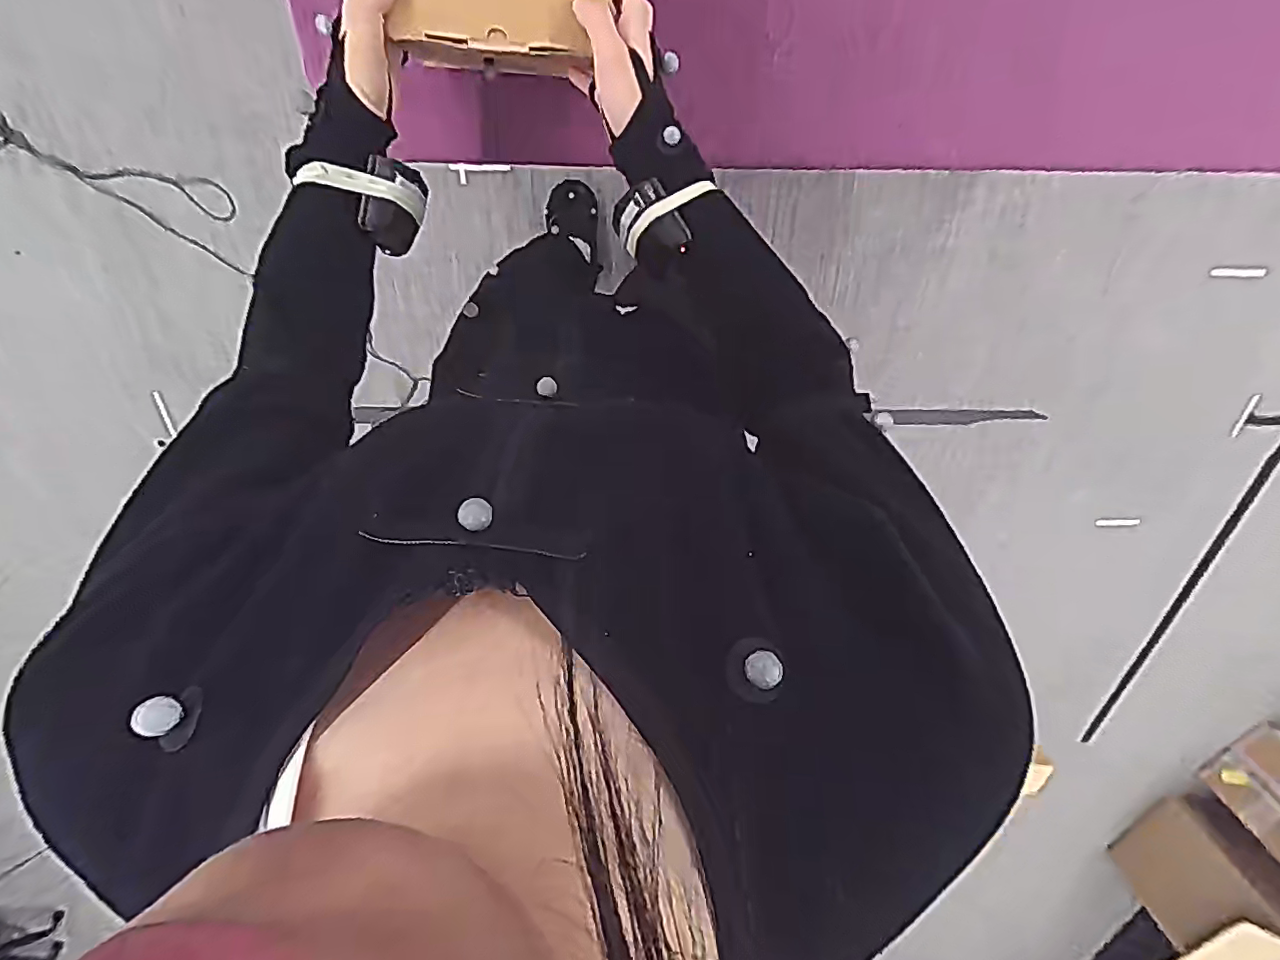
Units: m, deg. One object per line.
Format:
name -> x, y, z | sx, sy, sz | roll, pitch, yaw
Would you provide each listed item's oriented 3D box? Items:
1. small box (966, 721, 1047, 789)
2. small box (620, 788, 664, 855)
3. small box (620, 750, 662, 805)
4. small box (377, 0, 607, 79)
small box -> 1.393, 1.052, 2.072 | 0.168, 0.176, 0.179 | 2, 119, -6
small box -> 0.007, 1.355, 2.154 | 0.168, 0.176, 0.179 | -4, 121, -1
small box -> 0.003, 1.272, 2.296 | 0.168, 0.176, 0.179 | -5, 121, 0
small box -> -0.115, -0.440, 0.427 | 0.168, 0.176, 0.179 | -2, 123, -11
